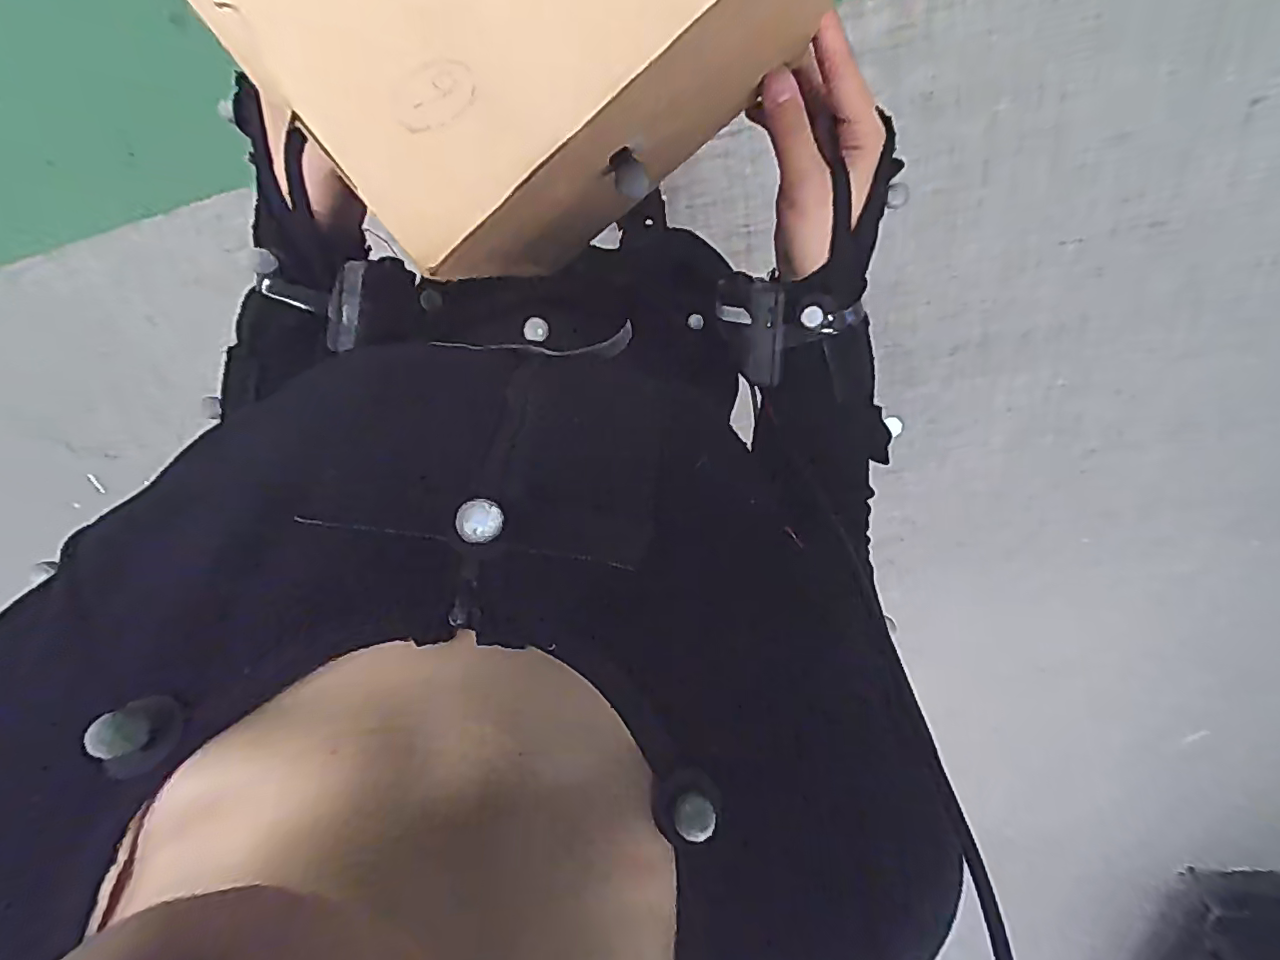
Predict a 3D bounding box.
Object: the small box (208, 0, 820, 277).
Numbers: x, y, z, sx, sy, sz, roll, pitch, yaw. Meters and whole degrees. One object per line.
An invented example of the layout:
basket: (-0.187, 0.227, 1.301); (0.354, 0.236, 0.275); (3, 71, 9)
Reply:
small box: (-0.039, -0.200, 0.212); (0.179, 0.176, 0.168); (-33, 104, 17)
